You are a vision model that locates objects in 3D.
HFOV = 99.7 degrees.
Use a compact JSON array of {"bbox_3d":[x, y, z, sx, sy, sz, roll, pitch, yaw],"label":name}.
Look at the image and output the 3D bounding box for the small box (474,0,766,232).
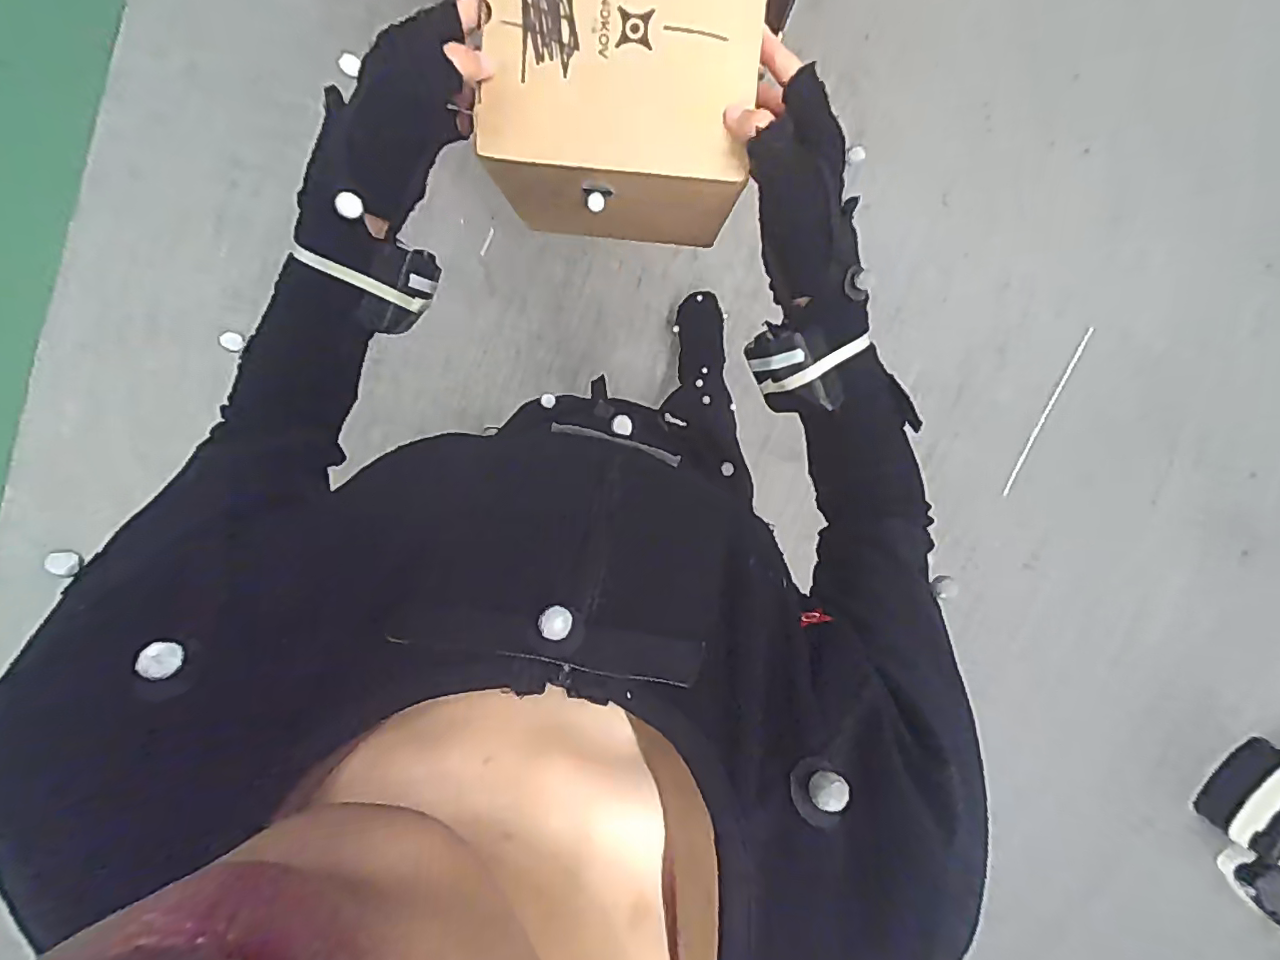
[{"bbox_3d":[-0.012,-0.300,0.407,0.179,0.176,0.168,4,100,-2],"label":"small box"}]
